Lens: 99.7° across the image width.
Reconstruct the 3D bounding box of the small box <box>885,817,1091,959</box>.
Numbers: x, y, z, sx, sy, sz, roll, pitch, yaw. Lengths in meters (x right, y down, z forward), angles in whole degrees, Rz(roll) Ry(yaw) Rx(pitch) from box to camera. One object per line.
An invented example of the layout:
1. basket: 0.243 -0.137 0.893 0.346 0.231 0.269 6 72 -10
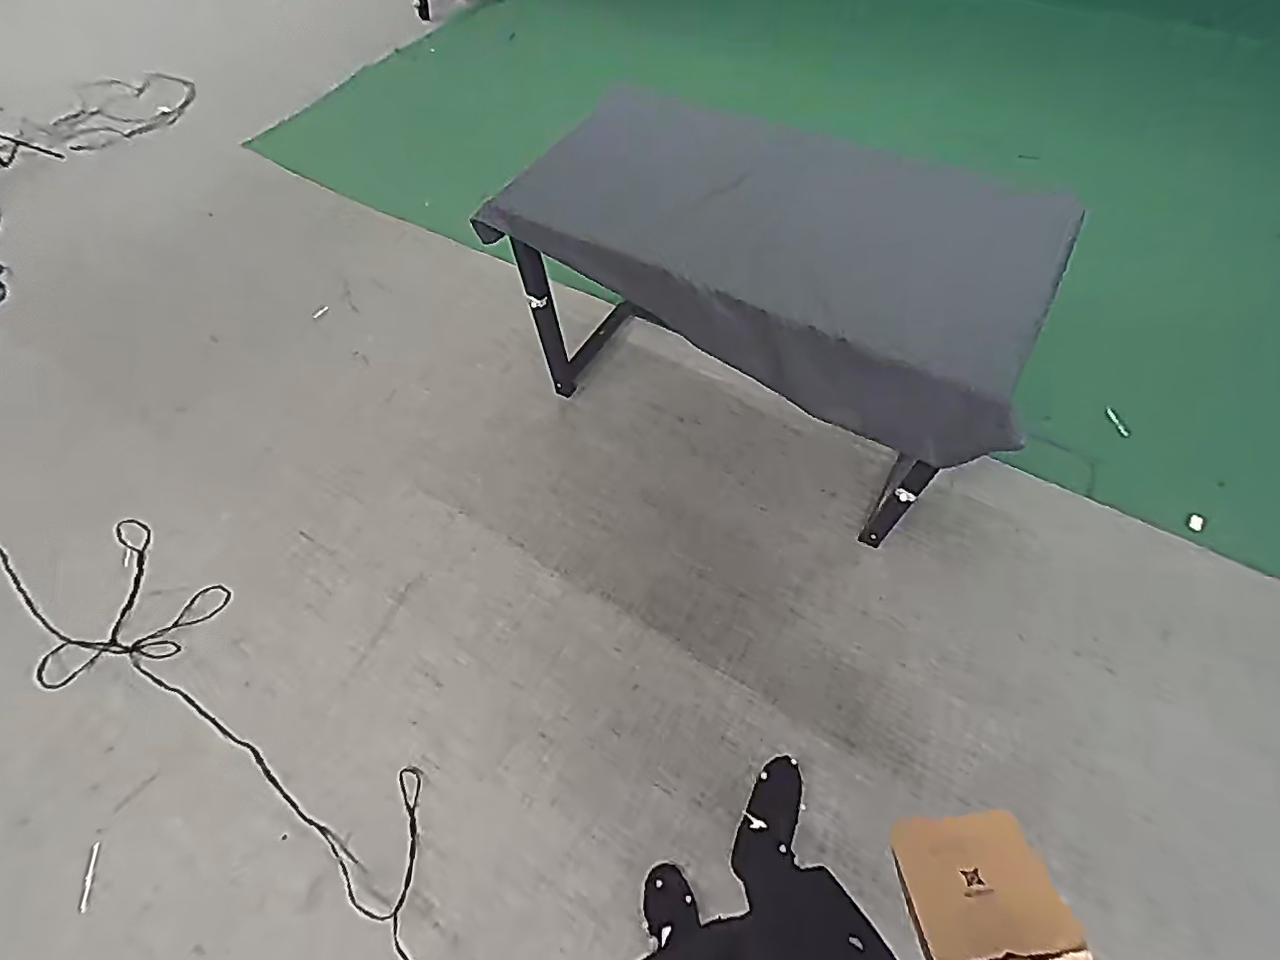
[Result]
1. small box: 0.439 0.580 0.688 0.168 0.176 0.179 -16 14 10
